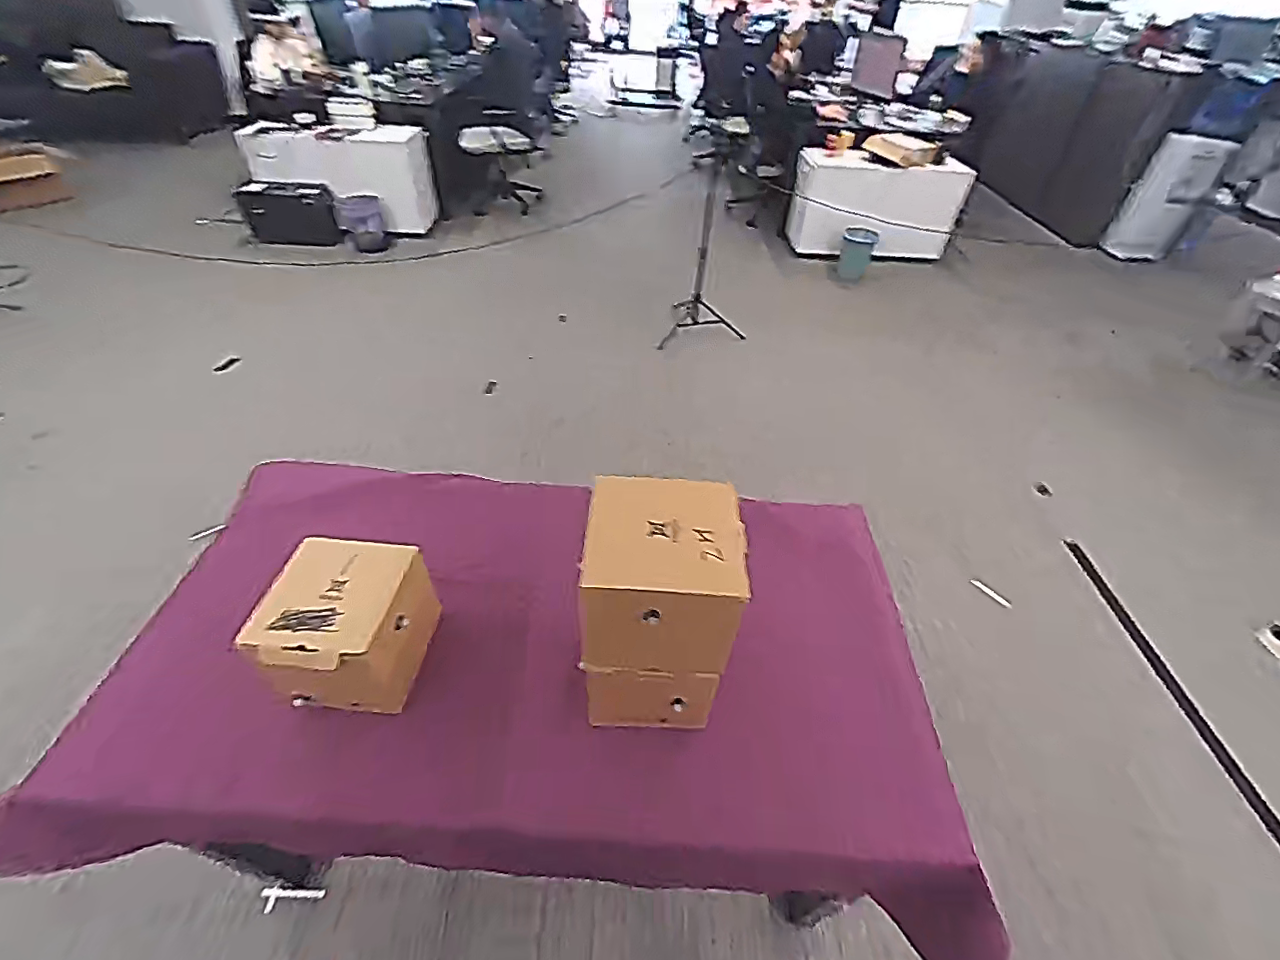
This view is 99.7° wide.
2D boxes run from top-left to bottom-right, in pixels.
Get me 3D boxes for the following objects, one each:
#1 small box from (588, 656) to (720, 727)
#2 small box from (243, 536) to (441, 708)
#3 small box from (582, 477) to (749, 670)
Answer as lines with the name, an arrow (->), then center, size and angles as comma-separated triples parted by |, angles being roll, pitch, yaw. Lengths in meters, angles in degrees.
small box -> 0.018, 0.235, 0.776 | 0.168, 0.176, 0.179 | 3, 44, -1
small box -> -0.405, 0.206, 0.777 | 0.168, 0.176, 0.179 | 6, 43, 2
small box -> 0.027, 0.117, 0.662 | 0.179, 0.176, 0.168 | 4, 45, 0
